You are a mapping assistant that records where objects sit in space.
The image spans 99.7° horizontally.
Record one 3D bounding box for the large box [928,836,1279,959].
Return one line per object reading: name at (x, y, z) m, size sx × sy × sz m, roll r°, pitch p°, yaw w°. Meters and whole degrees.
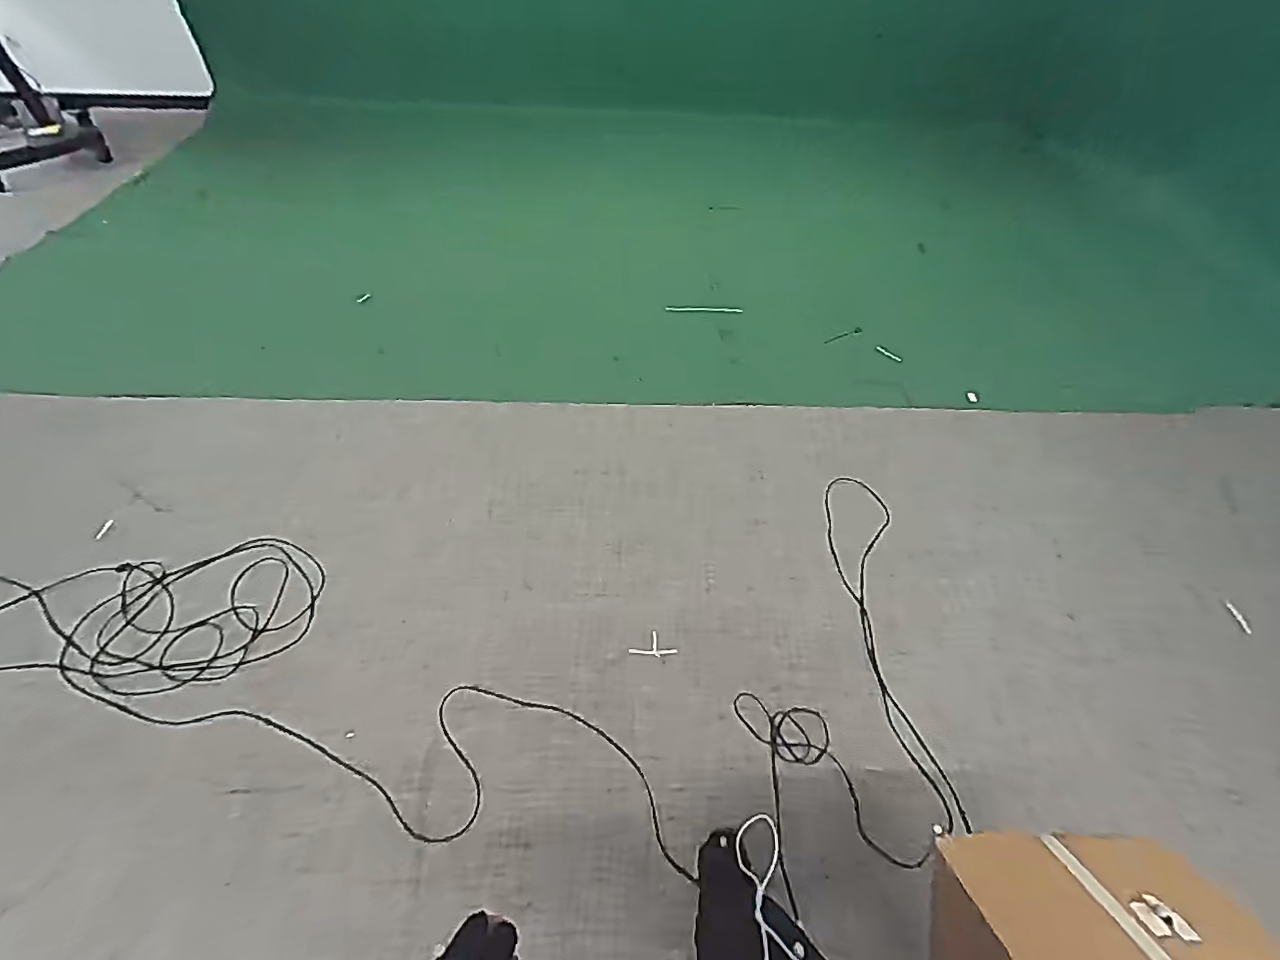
large box at (0.575, 0.693, 0.605) m, size 0.320 × 0.408 × 0.320 m, roll 0°, pitch 96°, yaw 2°
